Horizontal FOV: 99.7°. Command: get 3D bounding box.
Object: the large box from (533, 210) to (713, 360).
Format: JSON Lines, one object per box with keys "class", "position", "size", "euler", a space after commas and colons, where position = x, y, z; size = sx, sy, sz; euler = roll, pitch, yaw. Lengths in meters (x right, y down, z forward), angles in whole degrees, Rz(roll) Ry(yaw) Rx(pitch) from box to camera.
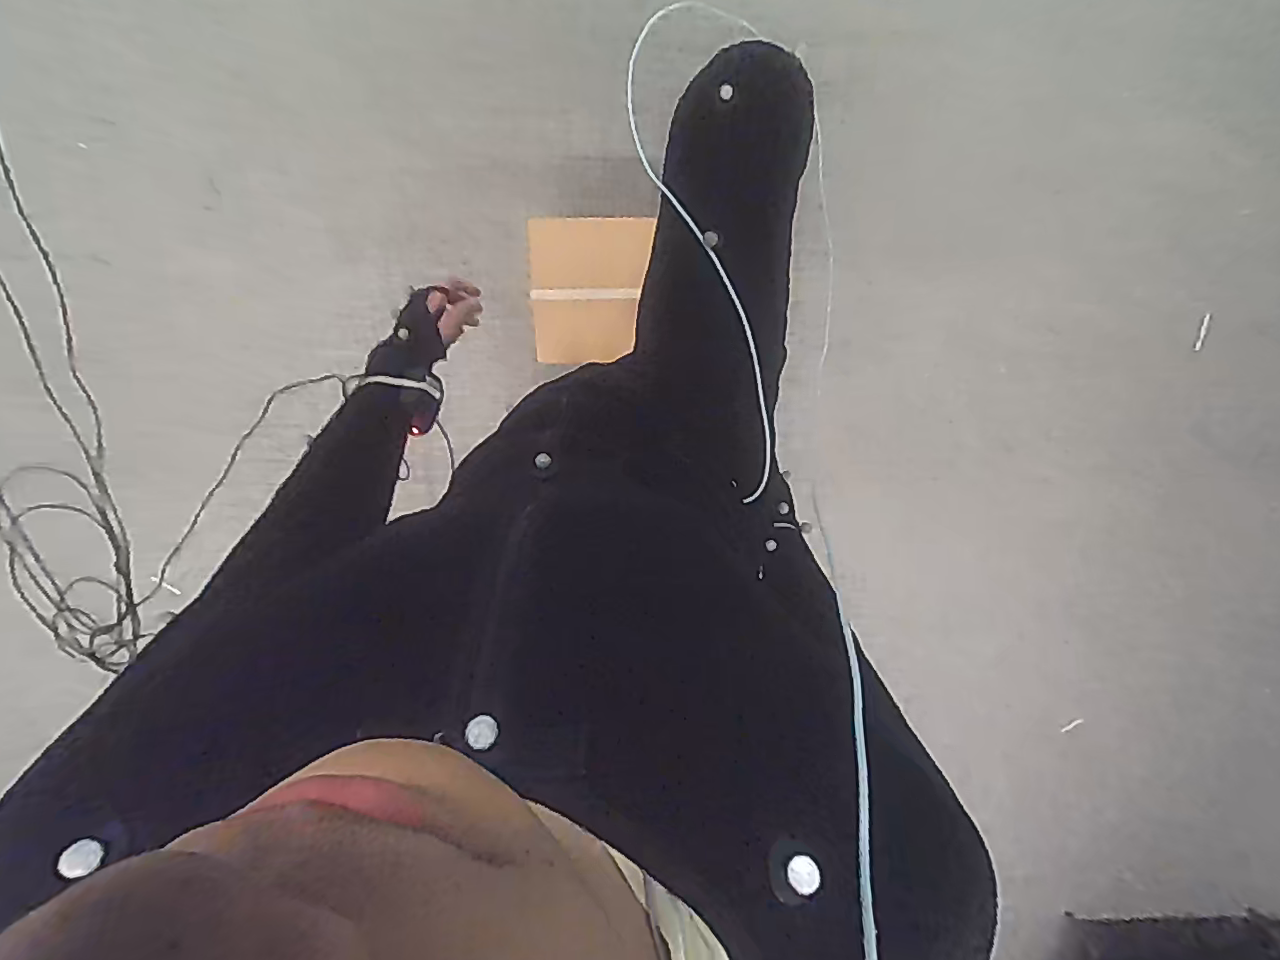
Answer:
{"class": "large box", "position": [-0.039, -0.481, 1.371], "size": [0.408, 0.320, 0.320], "euler": [-2, 107, -2]}
